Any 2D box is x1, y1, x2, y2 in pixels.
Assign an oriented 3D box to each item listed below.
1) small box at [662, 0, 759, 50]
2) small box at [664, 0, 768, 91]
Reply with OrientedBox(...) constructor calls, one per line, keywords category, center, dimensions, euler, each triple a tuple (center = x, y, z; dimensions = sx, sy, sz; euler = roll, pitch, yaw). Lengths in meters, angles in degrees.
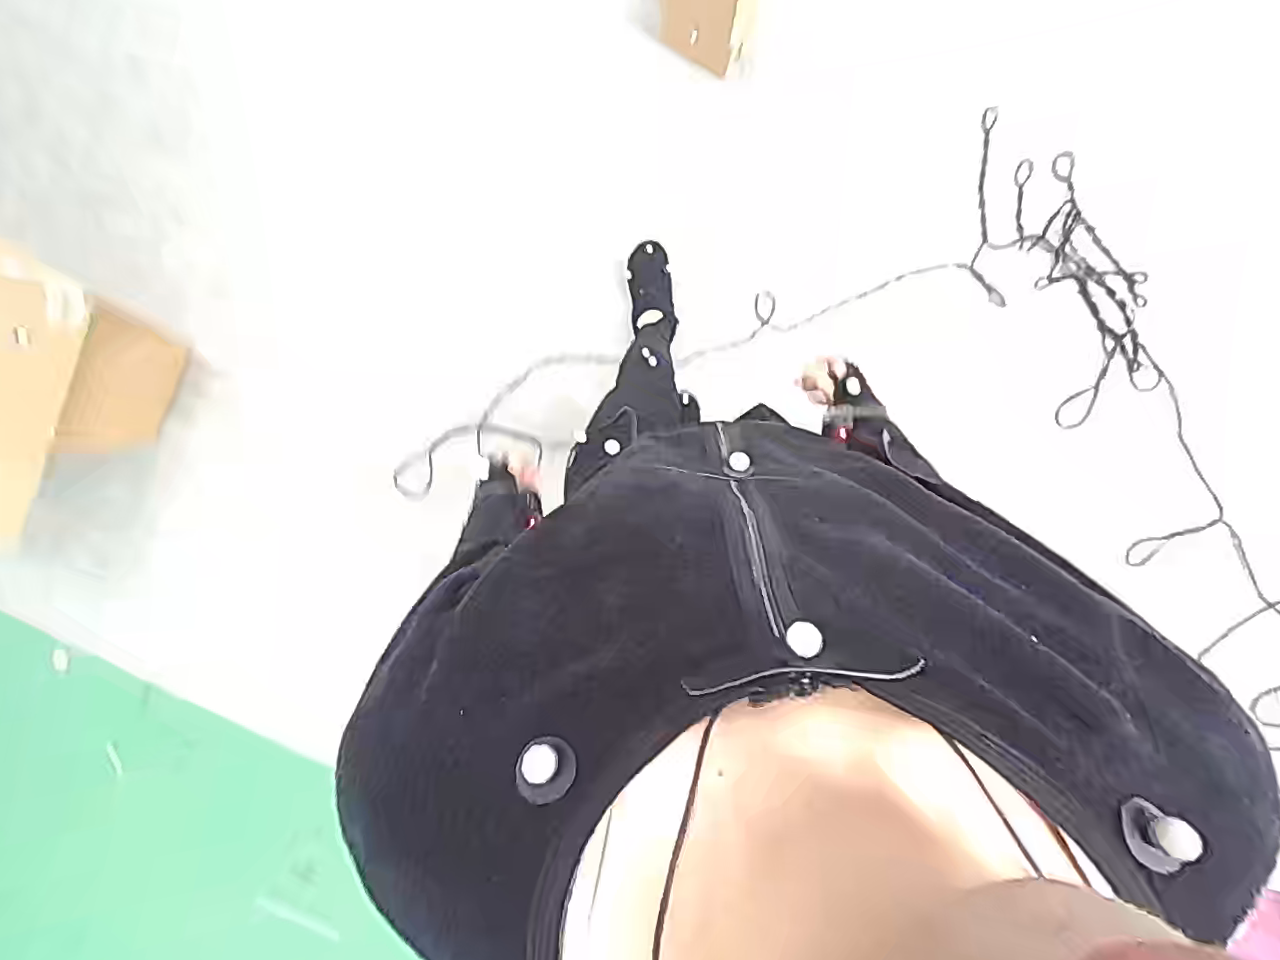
OrientedBox(category="small box", center=(0.151, -0.992, 1.046), dimensions=(0.179, 0.176, 0.168), euler=(28, 103, -4))
OrientedBox(category="small box", center=(0.166, -1.021, 1.207), dimensions=(0.179, 0.176, 0.168), euler=(28, 102, -4))
